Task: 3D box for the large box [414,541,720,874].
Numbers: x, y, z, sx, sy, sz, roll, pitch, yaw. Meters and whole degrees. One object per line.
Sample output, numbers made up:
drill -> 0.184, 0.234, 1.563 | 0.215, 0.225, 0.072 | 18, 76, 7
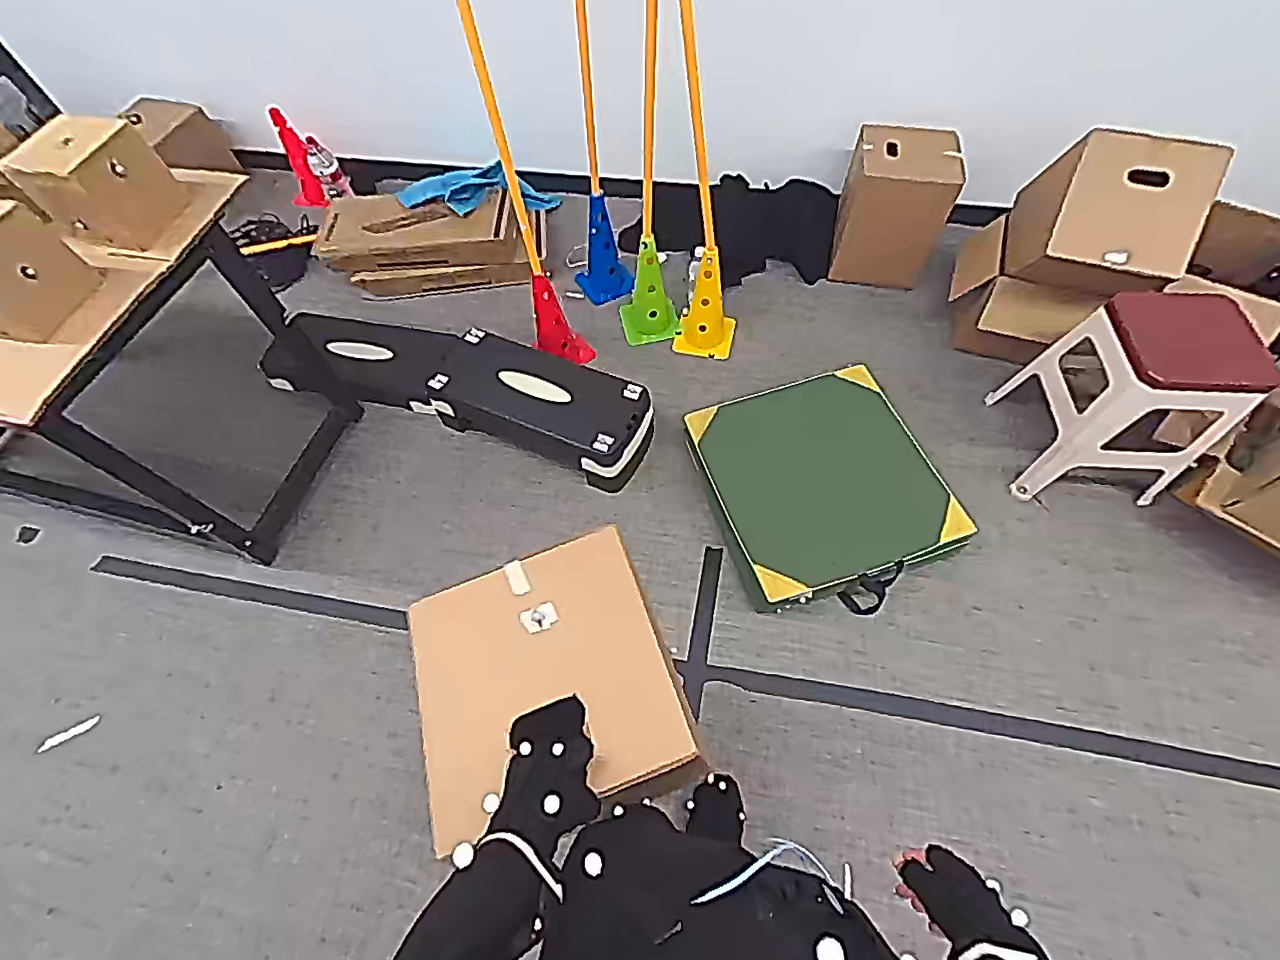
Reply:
large box -> -0.089, 0.347, 0.844 | 0.320, 0.408, 0.320 | -23, 60, -2
